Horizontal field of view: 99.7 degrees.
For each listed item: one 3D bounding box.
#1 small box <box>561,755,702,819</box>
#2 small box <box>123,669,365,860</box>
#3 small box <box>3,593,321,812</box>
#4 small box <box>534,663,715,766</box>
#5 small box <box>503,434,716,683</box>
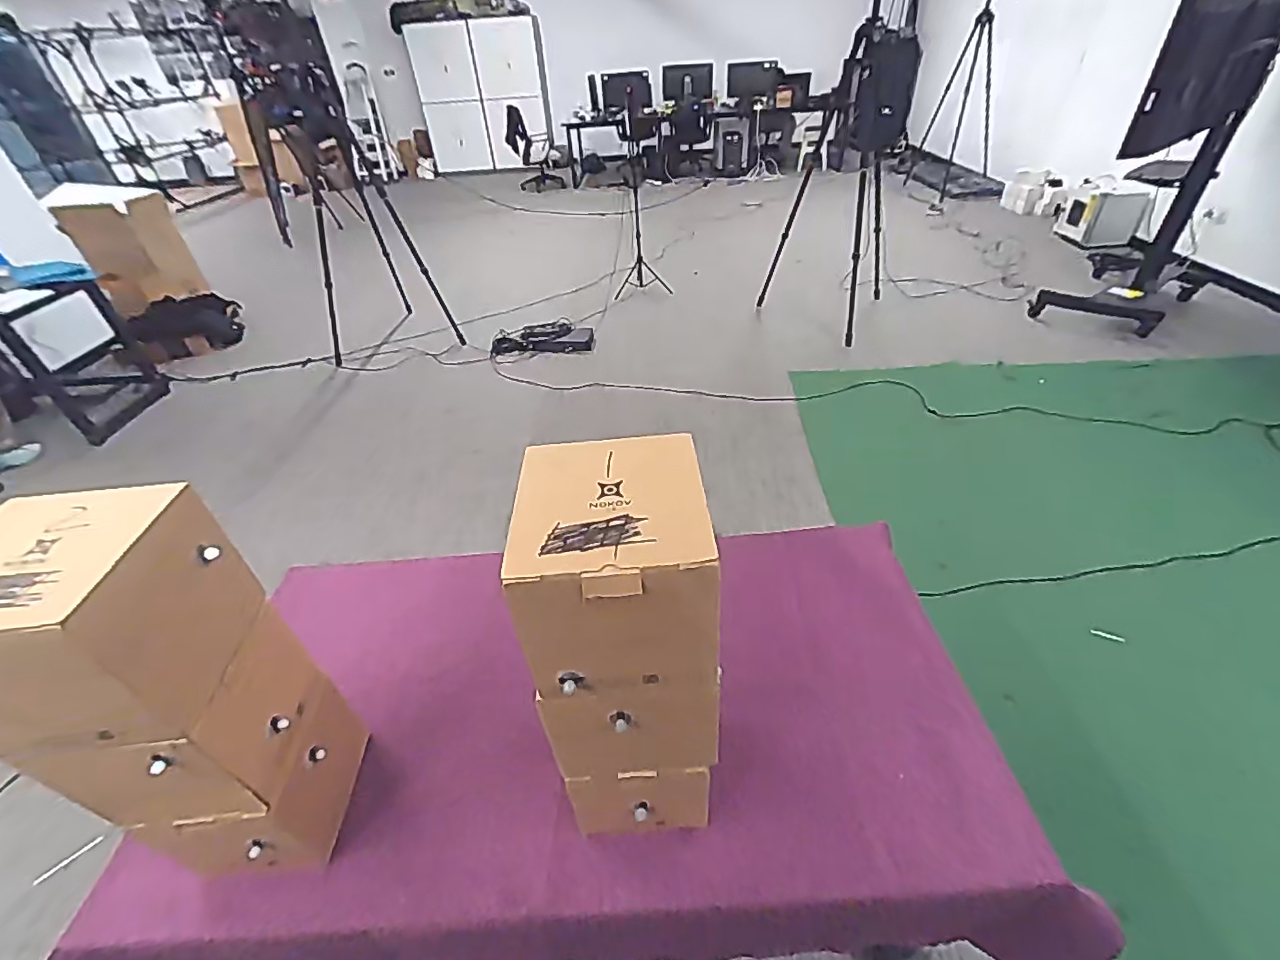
[{"bbox_3d":[-0.005,0.334,0.724,0.168,0.176,0.179,-3,40,0],"label":"small box"},{"bbox_3d":[-0.493,0.377,0.713,0.168,0.176,0.179,-4,39,-1],"label":"small box"},{"bbox_3d":[-0.506,0.252,0.611,0.179,0.176,0.168,-5,39,-3],"label":"small box"},{"bbox_3d":[-0.012,0.208,0.618,0.179,0.176,0.168,-4,40,0],"label":"small box"},{"bbox_3d":[-0.020,0.077,0.517,0.168,0.176,0.179,-4,38,0],"label":"small box"}]
